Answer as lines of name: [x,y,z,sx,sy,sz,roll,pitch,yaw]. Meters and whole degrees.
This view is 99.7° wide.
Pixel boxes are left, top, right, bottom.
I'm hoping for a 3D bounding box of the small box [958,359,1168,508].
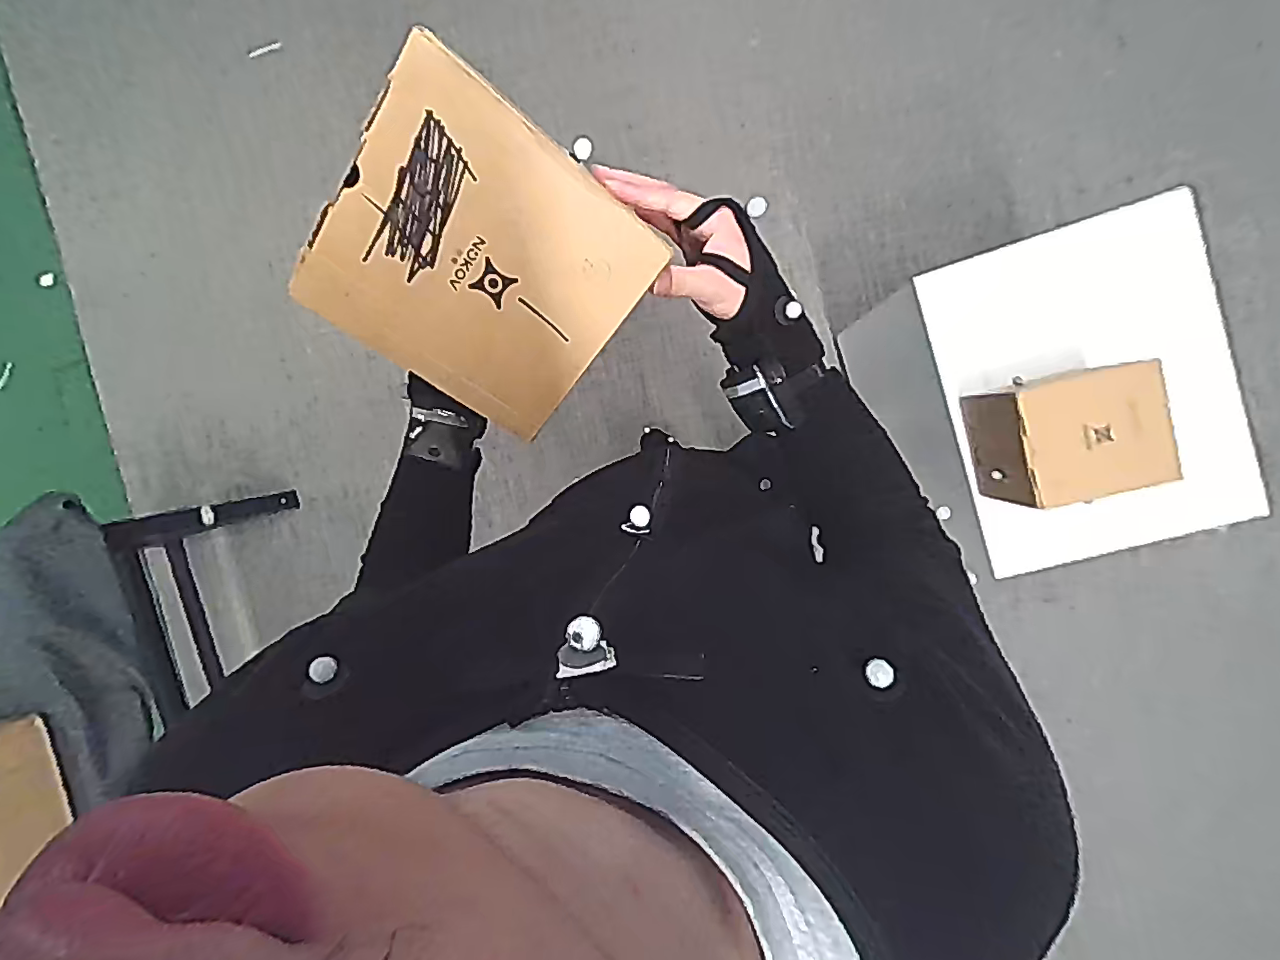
small box: [0.593,-0.065,0.787,0.179,0.176,0.168,-14,95,7]
